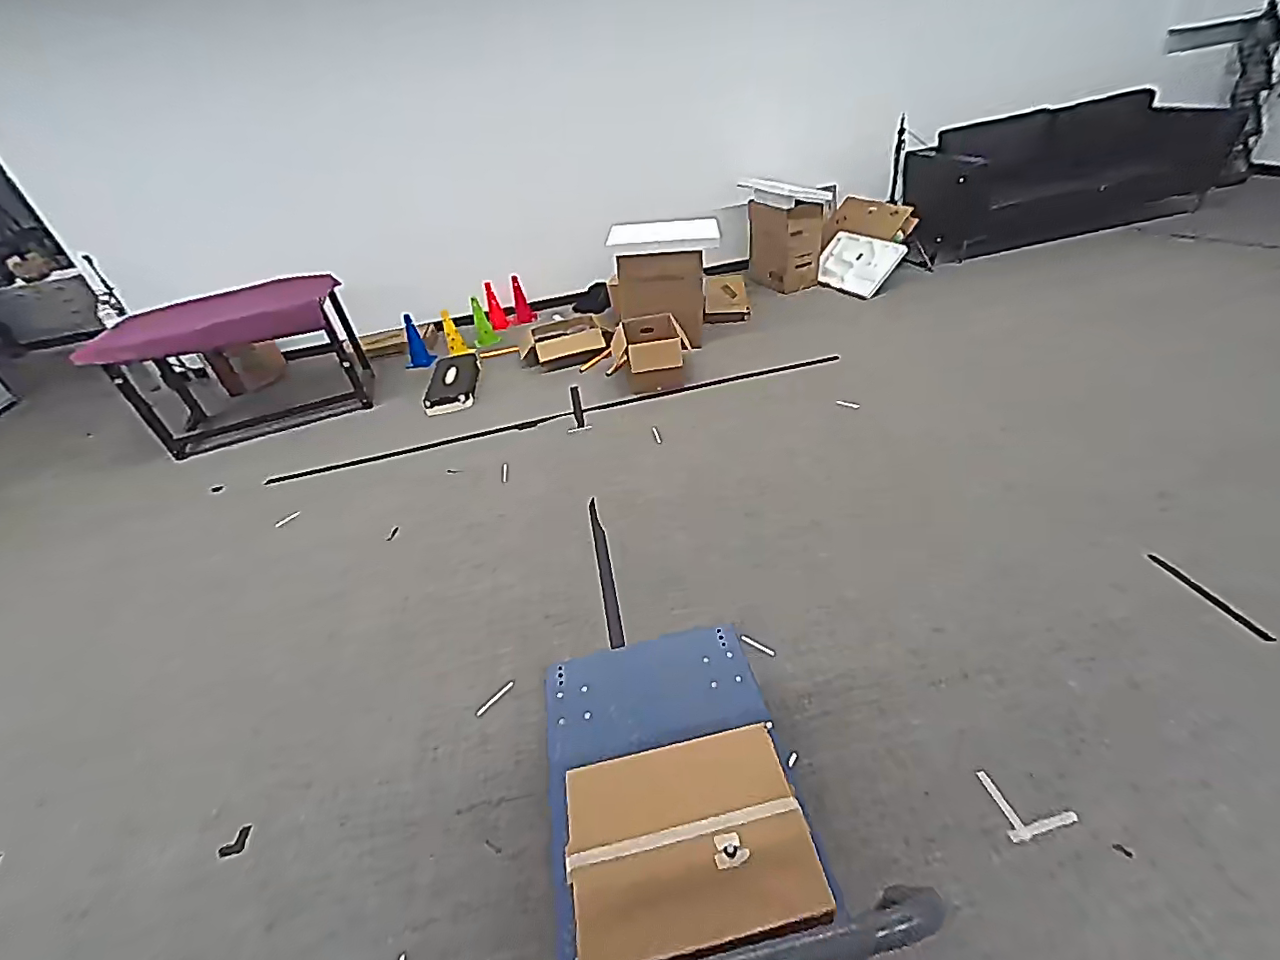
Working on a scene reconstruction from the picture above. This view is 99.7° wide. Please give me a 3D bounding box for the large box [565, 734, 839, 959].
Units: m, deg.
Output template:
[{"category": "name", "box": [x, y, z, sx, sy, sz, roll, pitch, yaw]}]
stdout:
[{"category": "large box", "box": [0.096, 0.739, 0.997, 0.408, 0.320, 0.320, -12, 37, -5]}]
